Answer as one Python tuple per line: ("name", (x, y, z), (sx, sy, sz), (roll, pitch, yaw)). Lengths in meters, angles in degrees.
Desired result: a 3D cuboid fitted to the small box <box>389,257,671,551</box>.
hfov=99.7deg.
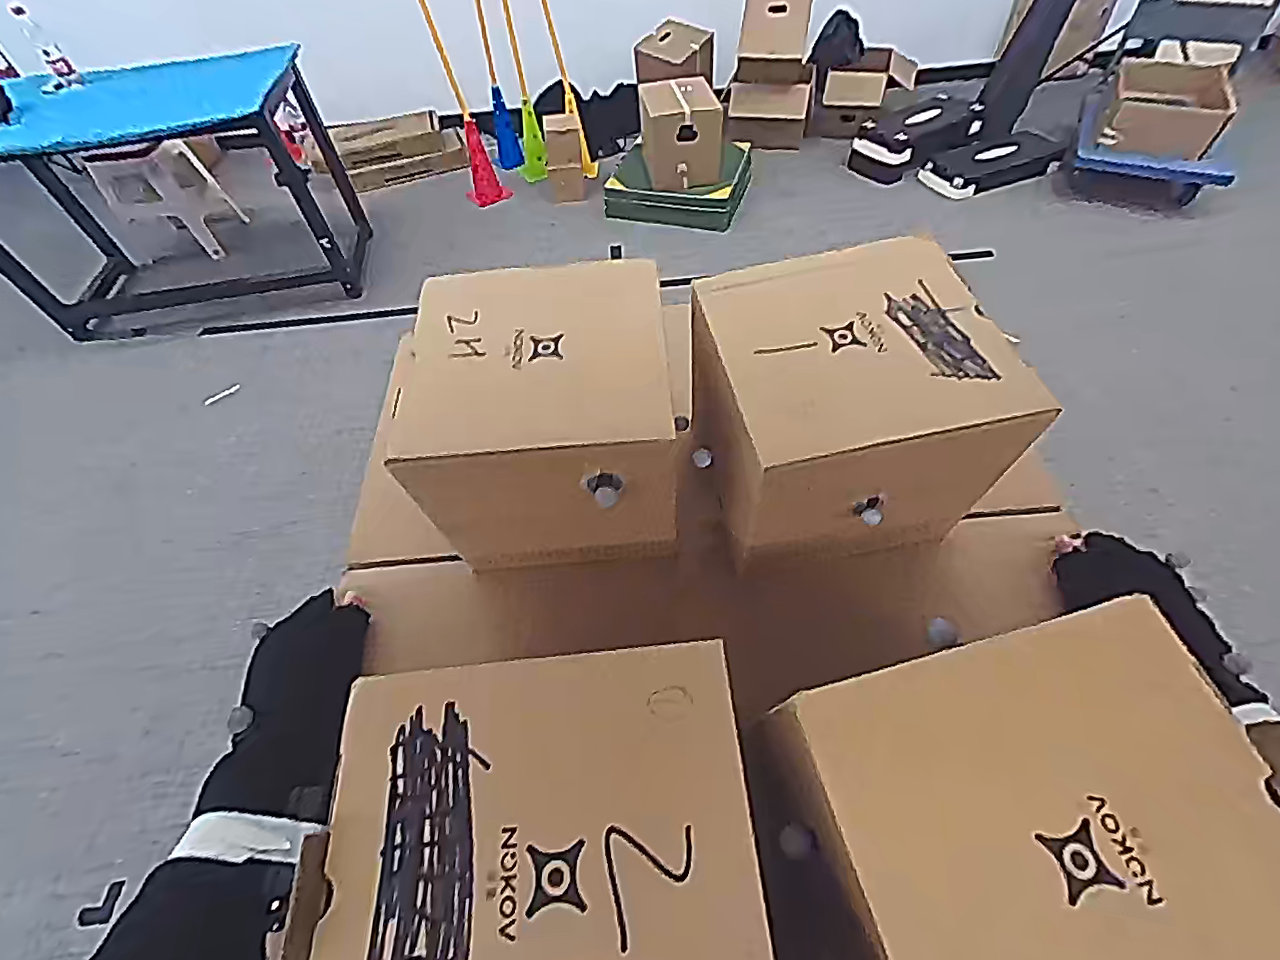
("small box", (-0.066, -0.052, 0.439), (0.179, 0.176, 0.168), (-4, 58, 2))
